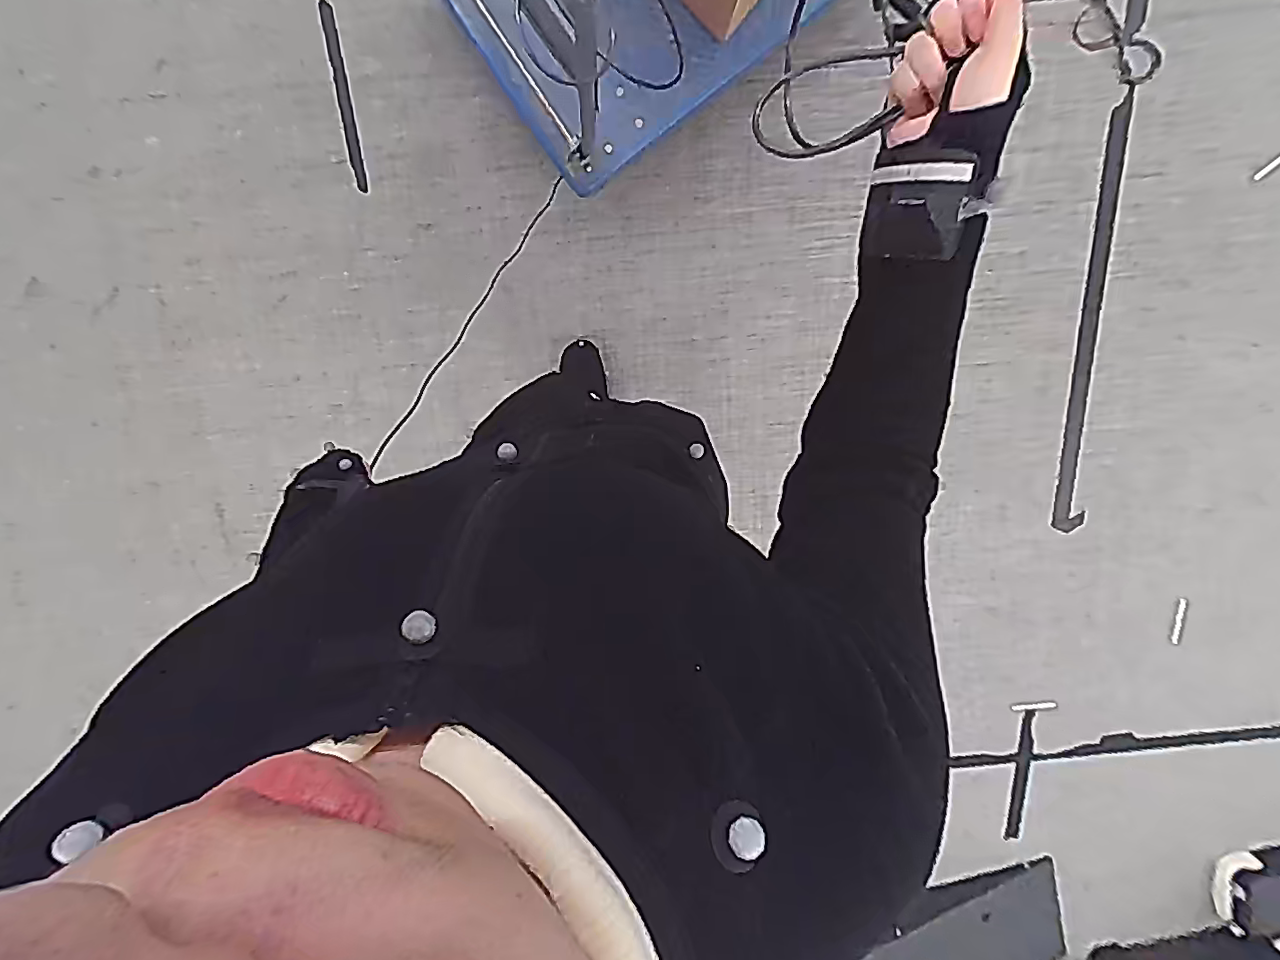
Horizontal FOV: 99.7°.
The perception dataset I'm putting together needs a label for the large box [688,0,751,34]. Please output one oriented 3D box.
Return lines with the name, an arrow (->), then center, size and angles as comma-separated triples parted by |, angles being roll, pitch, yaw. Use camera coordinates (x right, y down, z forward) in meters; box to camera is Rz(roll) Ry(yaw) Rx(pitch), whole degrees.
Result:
large box -> 0.115, -1.078, 0.873 | 0.408, 0.320, 0.320 | 39, 102, -12
